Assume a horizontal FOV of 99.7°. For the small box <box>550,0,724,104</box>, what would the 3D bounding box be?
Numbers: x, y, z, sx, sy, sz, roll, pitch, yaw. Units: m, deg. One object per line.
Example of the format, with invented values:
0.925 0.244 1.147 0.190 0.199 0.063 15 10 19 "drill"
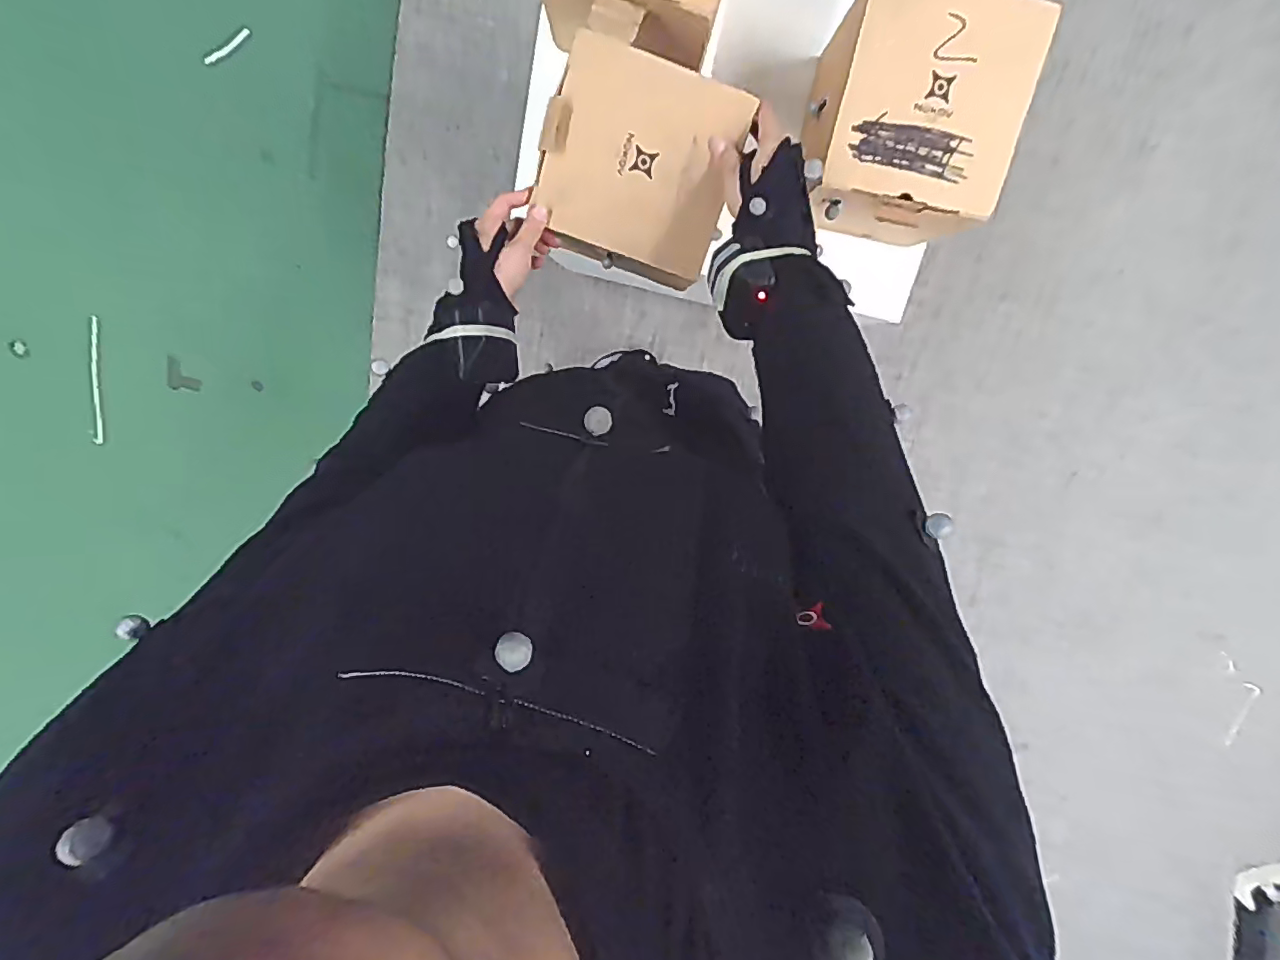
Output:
0.008 -0.512 0.522 0.168 0.176 0.179 15 105 -5 "small box"
